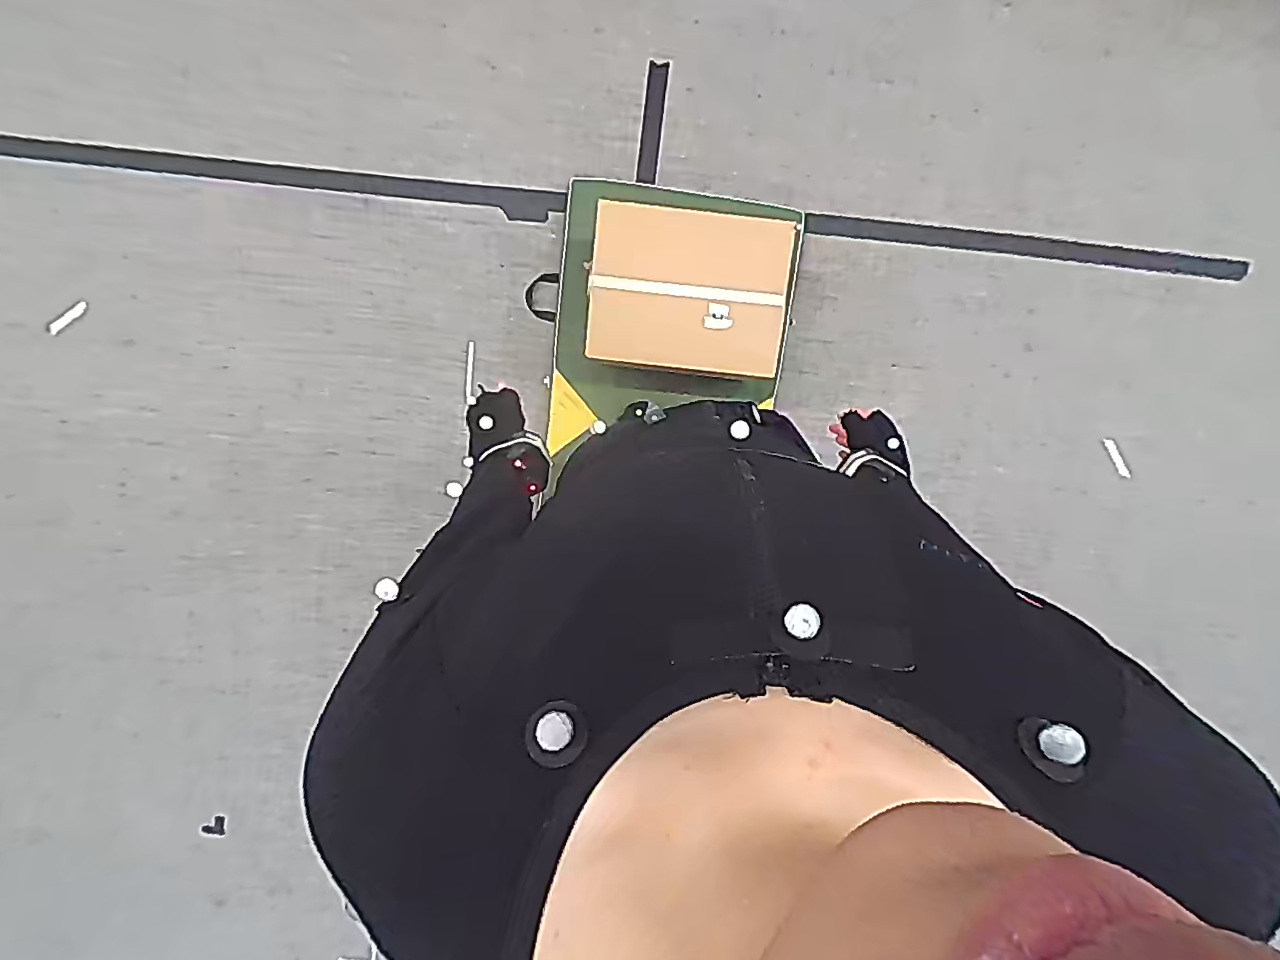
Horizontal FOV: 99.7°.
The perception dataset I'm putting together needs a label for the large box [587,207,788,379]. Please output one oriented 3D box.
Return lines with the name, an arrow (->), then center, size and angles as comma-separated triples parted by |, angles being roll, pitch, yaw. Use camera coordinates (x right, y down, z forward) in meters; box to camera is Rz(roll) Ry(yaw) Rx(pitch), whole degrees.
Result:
large box -> 0.092, -0.412, 1.273 | 0.408, 0.320, 0.320 | 5, 100, -2
